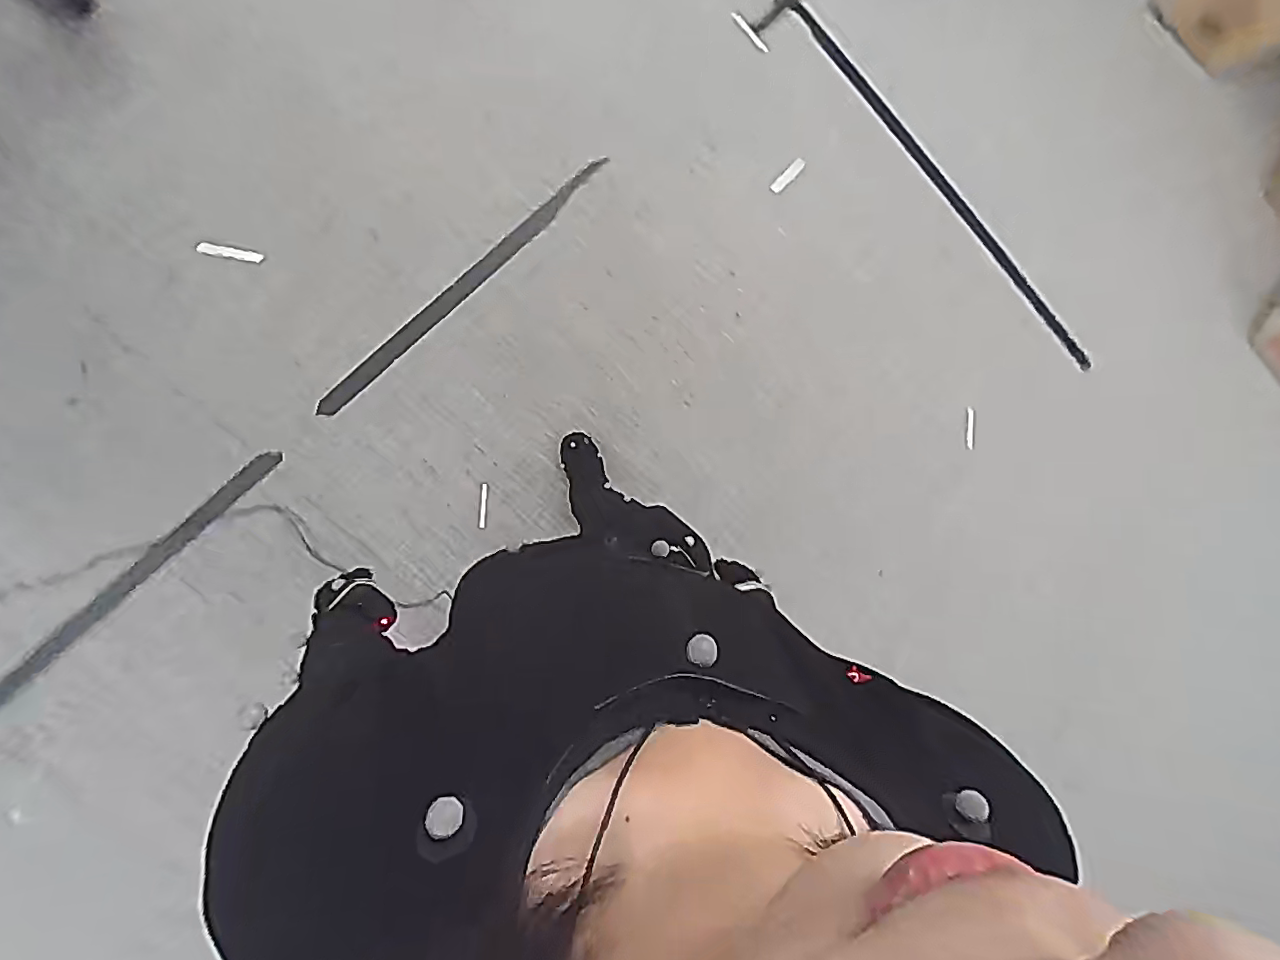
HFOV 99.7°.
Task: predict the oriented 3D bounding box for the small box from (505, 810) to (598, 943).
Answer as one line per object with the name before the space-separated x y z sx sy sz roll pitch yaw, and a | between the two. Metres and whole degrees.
small box | -0.228 1.001 1.383 0.168 0.176 0.179 -31 96 -12
